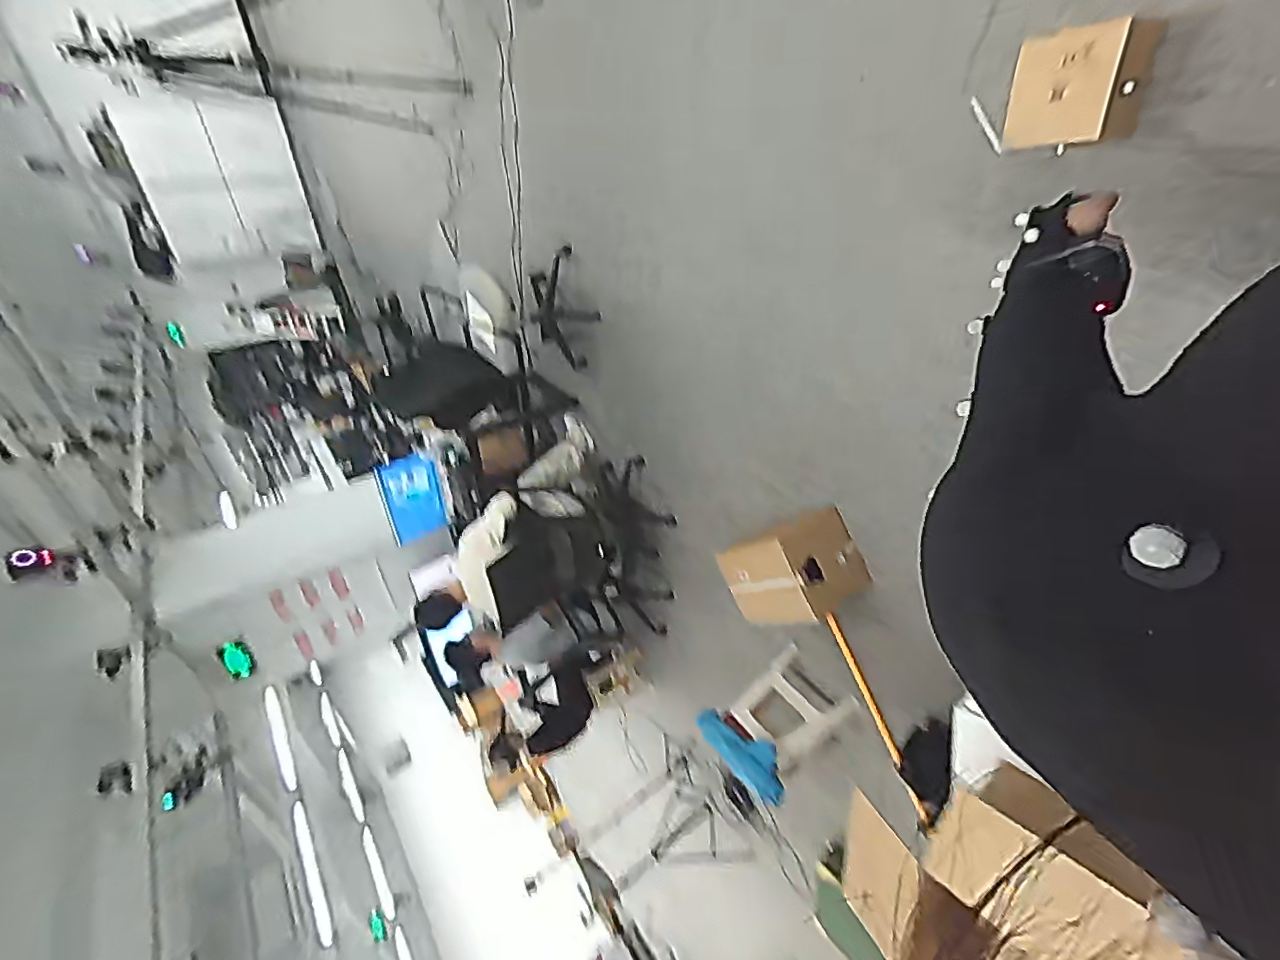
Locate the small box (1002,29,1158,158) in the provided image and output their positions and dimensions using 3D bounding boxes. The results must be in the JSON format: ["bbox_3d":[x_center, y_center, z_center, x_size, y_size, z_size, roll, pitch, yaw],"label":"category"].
[{"bbox_3d":[0.831,-0.724,1.026,0.168,0.176,0.179,29,133,47],"label":"small box"}]
